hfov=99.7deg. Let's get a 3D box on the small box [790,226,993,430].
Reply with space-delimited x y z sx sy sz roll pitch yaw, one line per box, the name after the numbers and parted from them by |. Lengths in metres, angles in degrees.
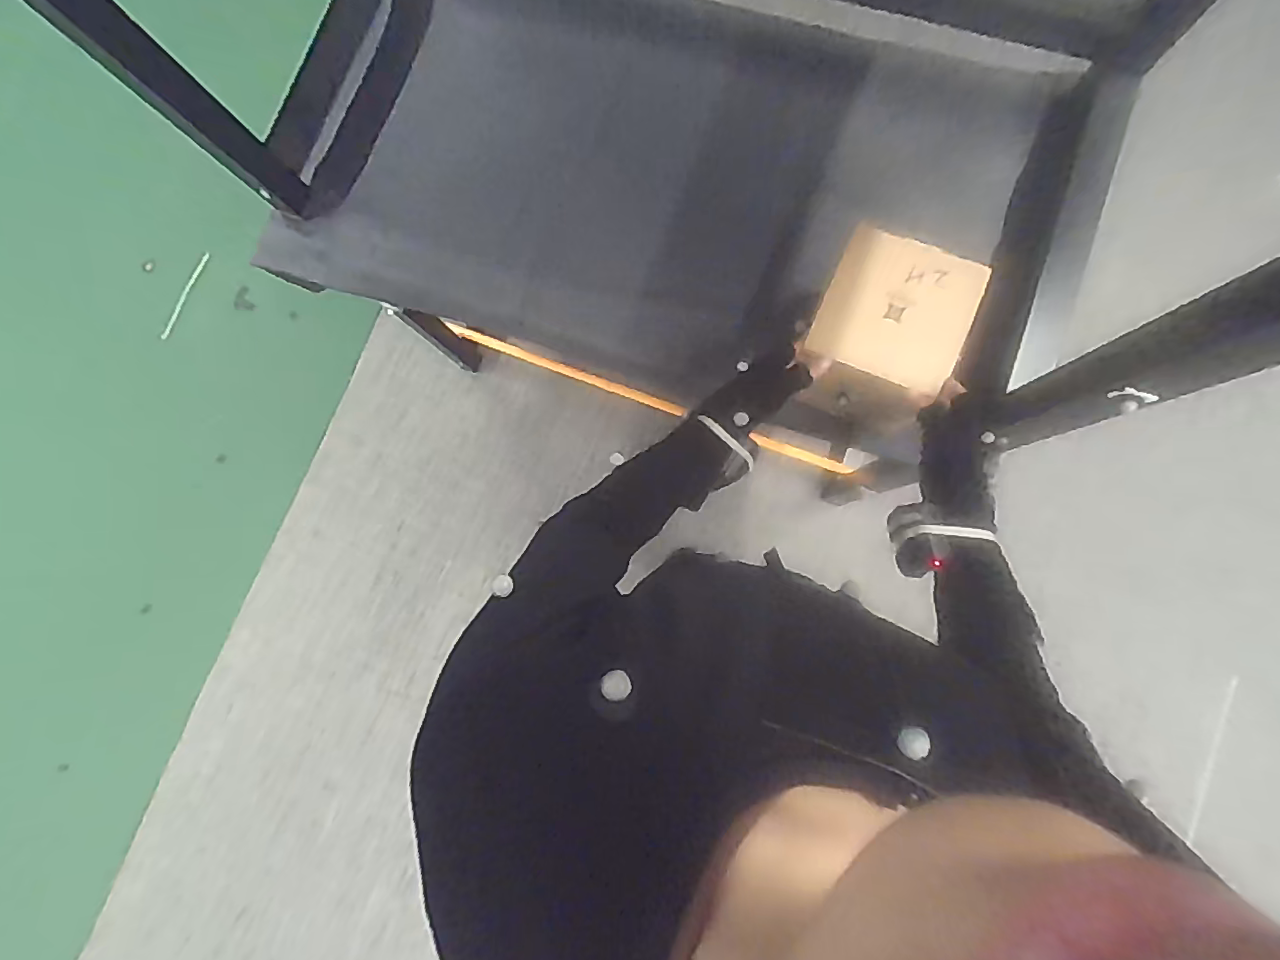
0.309 -0.184 0.706 0.168 0.176 0.179 24 83 8 | small box
